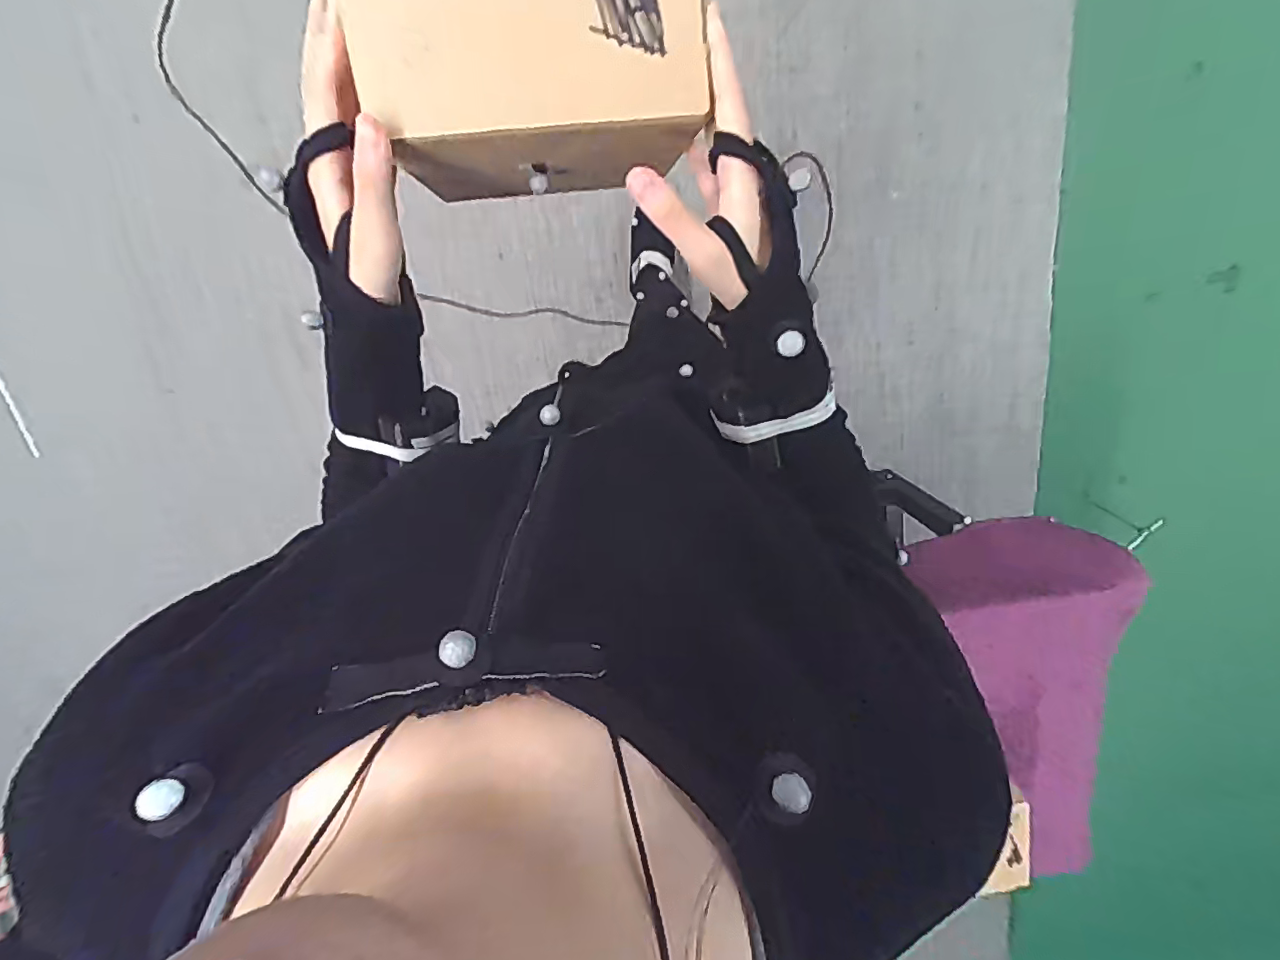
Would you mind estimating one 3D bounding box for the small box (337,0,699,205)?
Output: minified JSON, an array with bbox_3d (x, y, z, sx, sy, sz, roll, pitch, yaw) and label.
[{"bbox_3d":[-0.069,-0.278,0.334,0.179,0.176,0.168,-7,108,-4],"label":"small box"}]
